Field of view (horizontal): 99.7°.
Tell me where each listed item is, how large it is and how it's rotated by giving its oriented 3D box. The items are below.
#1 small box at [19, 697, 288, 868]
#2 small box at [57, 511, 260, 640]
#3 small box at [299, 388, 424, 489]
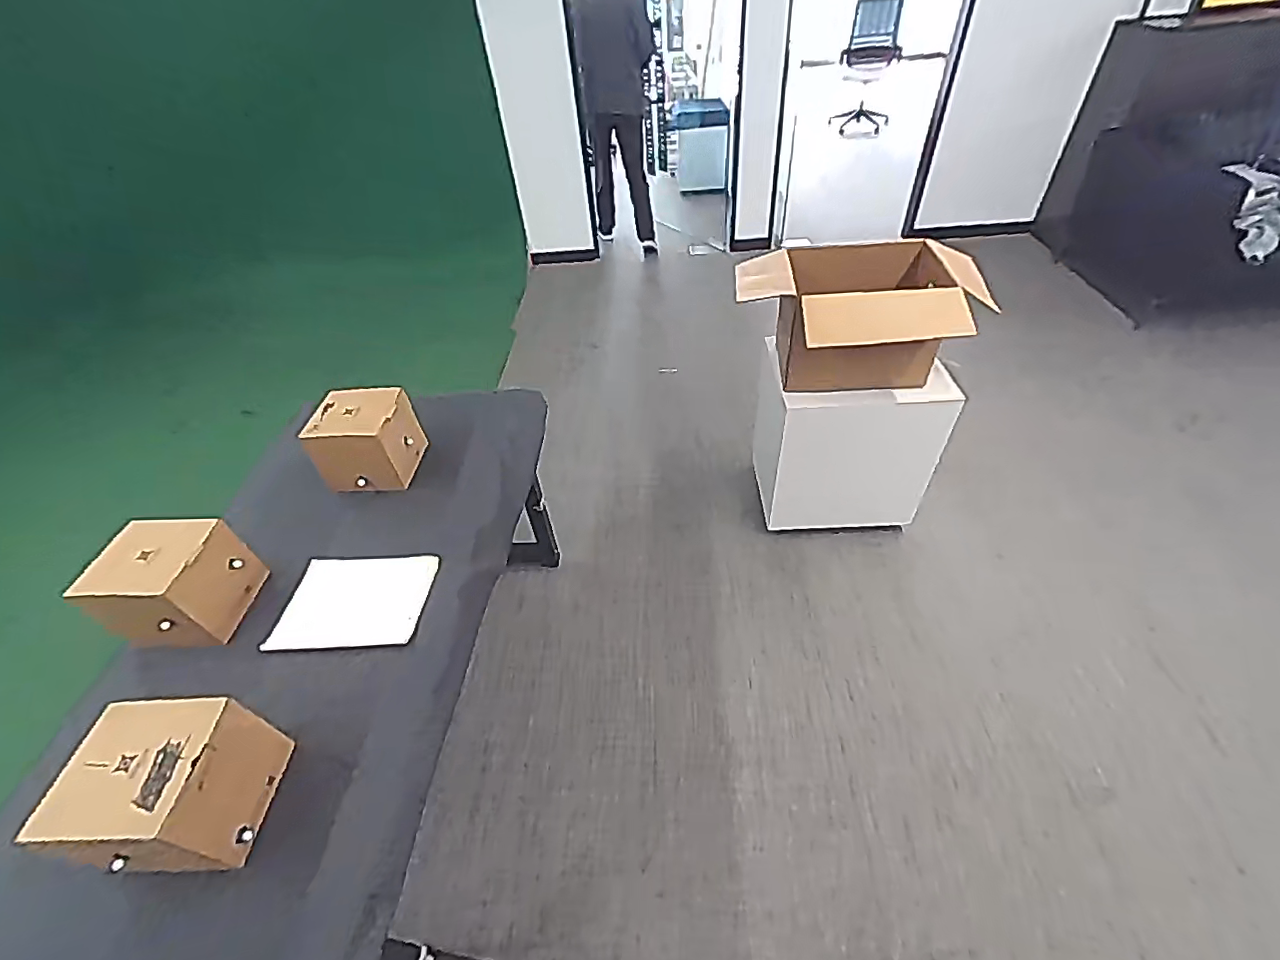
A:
[{"bbox_3d":[-0.629,0.410,0.733,0.179,0.176,0.168,-3,44,3],"label":"small box"},{"bbox_3d":[-0.837,0.173,0.968,0.179,0.176,0.168,-2,44,3],"label":"small box"},{"bbox_3d":[-0.619,-0.092,1.232,0.179,0.176,0.168,0,45,3],"label":"small box"}]
